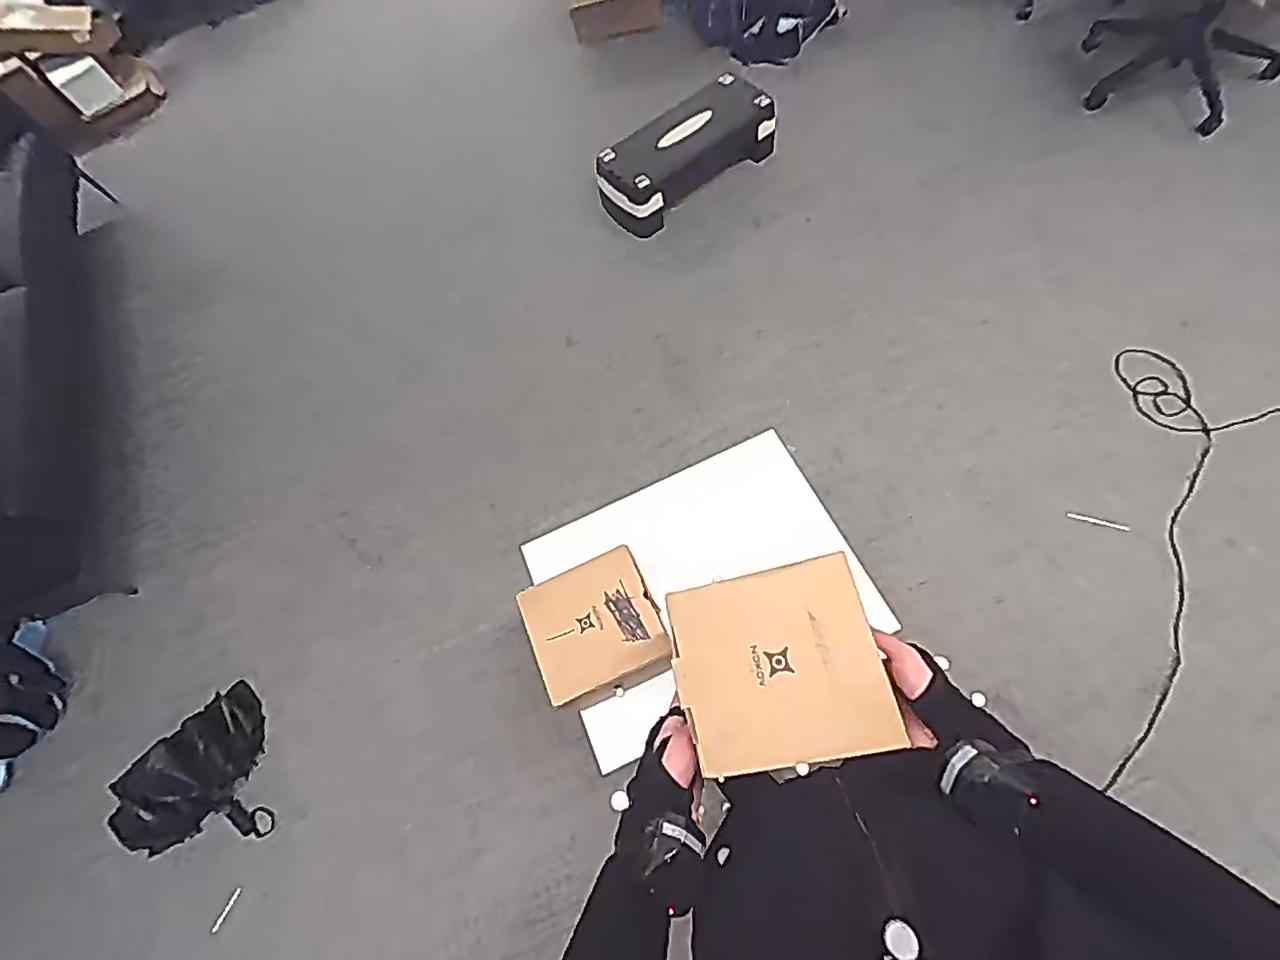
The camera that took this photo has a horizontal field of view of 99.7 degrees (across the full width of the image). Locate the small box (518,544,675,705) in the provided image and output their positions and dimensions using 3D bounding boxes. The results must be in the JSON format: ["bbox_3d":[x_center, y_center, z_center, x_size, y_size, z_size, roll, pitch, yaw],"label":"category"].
[{"bbox_3d":[-0.056,0.221,0.809,0.179,0.176,0.168,-24,65,-2],"label":"small box"}]
